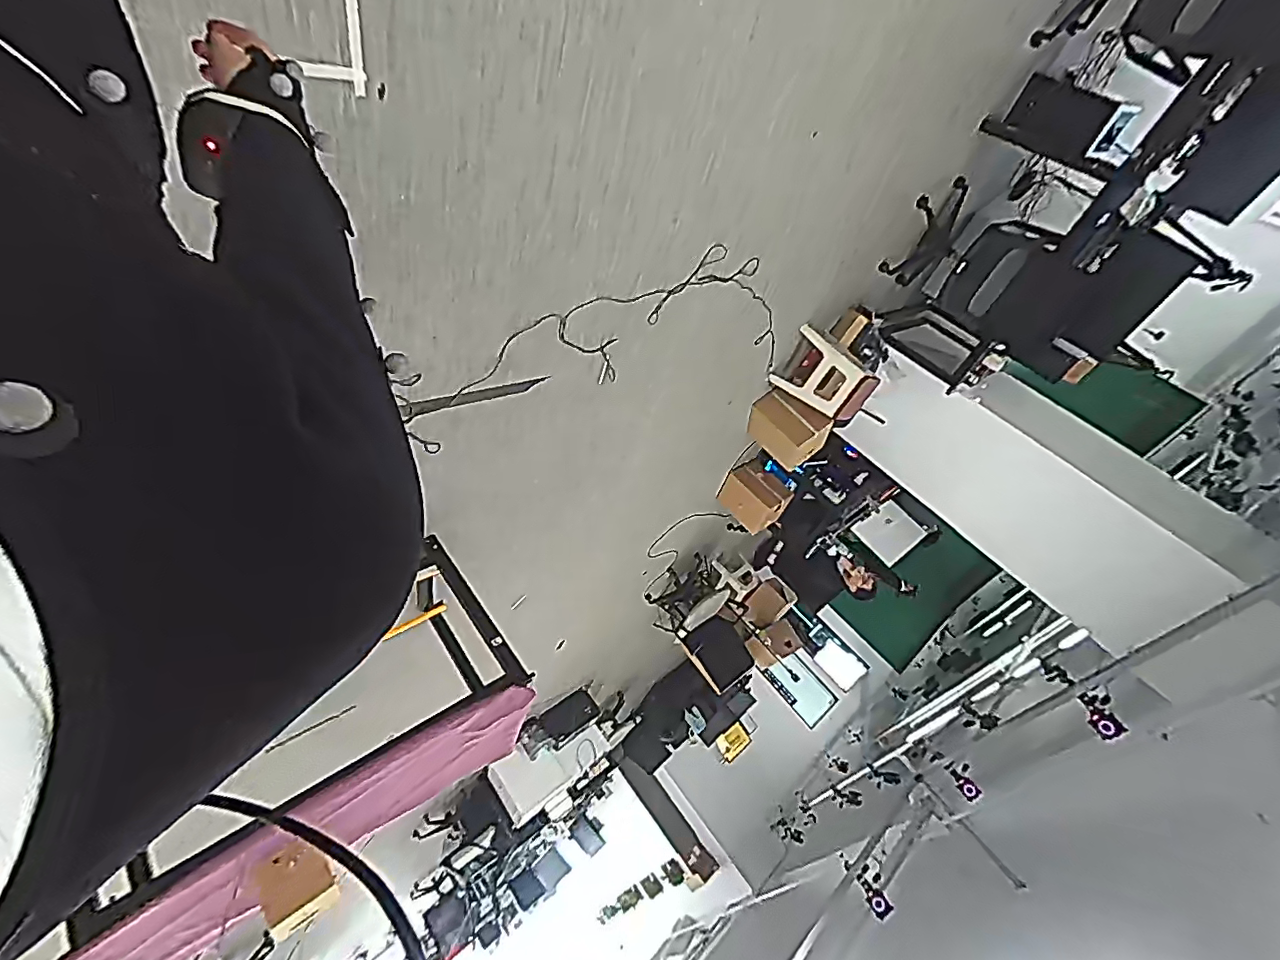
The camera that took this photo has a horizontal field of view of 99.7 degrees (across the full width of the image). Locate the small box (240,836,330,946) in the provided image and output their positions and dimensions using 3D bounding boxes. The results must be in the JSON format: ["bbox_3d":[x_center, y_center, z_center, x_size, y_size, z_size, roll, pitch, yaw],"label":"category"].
[{"bbox_3d":[-0.987,1.140,1.511,0.168,0.176,0.179,-21,147,-41],"label":"small box"}]
